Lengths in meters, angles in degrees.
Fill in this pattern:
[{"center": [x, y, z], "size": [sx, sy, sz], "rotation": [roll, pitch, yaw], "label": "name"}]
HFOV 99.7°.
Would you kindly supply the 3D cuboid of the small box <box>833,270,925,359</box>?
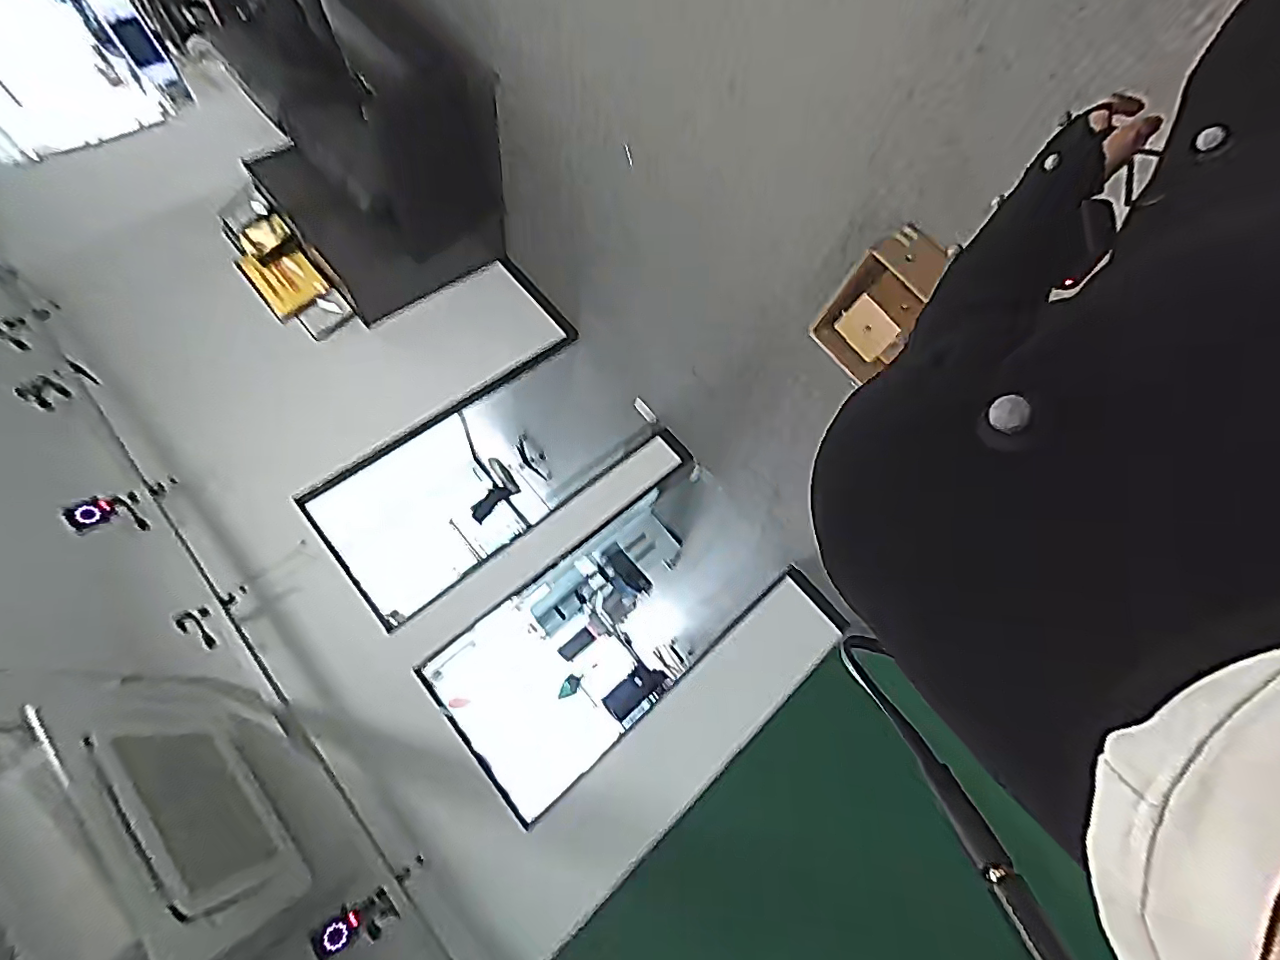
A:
[{"center": [0.755, -0.522, 1.695], "size": [0.168, 0.176, 0.179], "rotation": [51, 159, 6], "label": "small box"}]
